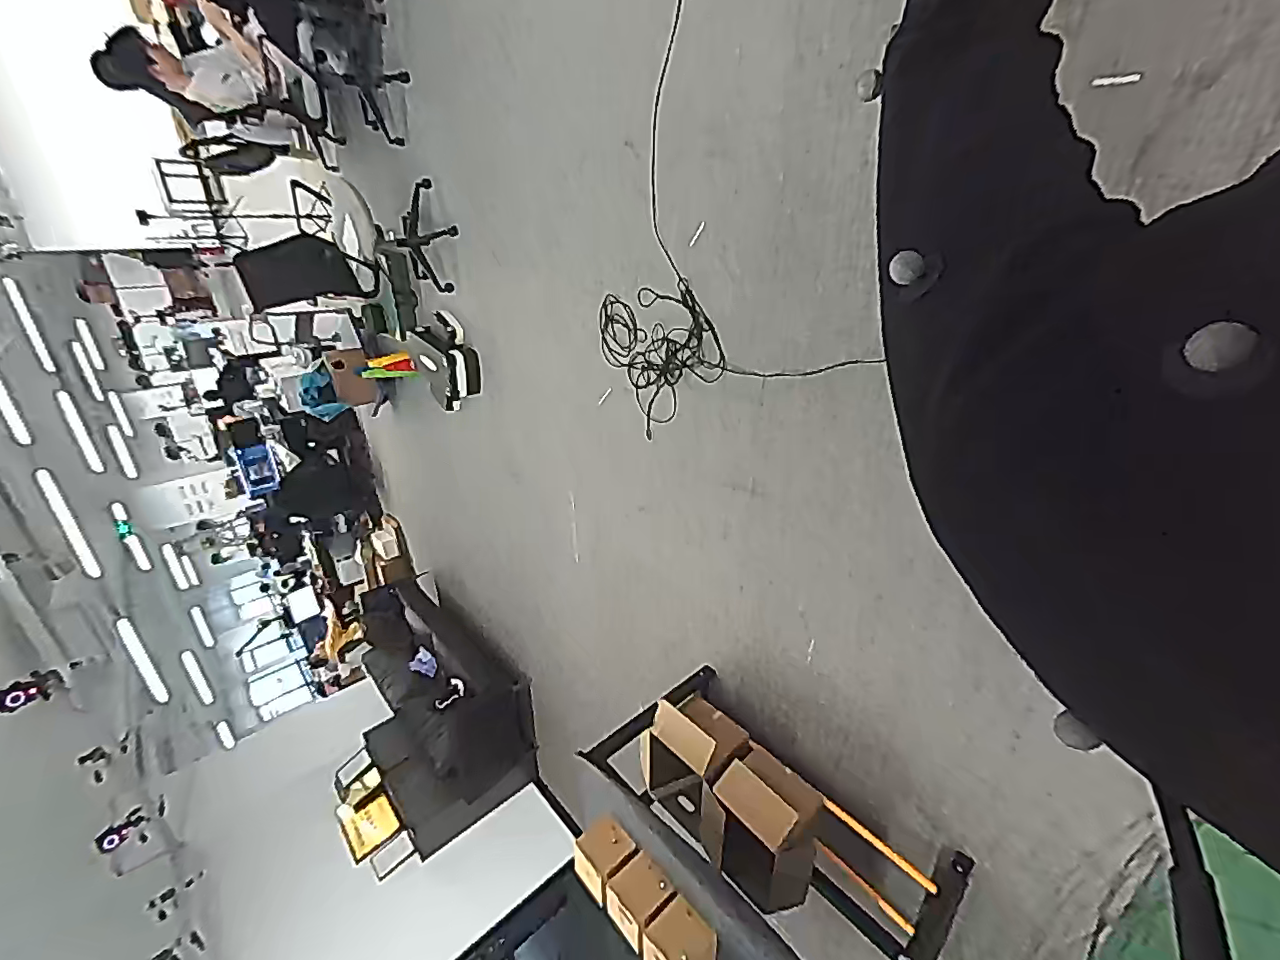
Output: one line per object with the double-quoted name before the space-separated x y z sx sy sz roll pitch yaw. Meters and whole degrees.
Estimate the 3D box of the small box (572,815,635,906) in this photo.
"small box" -0.131 1.390 1.982 0.168 0.176 0.179 26 125 42
